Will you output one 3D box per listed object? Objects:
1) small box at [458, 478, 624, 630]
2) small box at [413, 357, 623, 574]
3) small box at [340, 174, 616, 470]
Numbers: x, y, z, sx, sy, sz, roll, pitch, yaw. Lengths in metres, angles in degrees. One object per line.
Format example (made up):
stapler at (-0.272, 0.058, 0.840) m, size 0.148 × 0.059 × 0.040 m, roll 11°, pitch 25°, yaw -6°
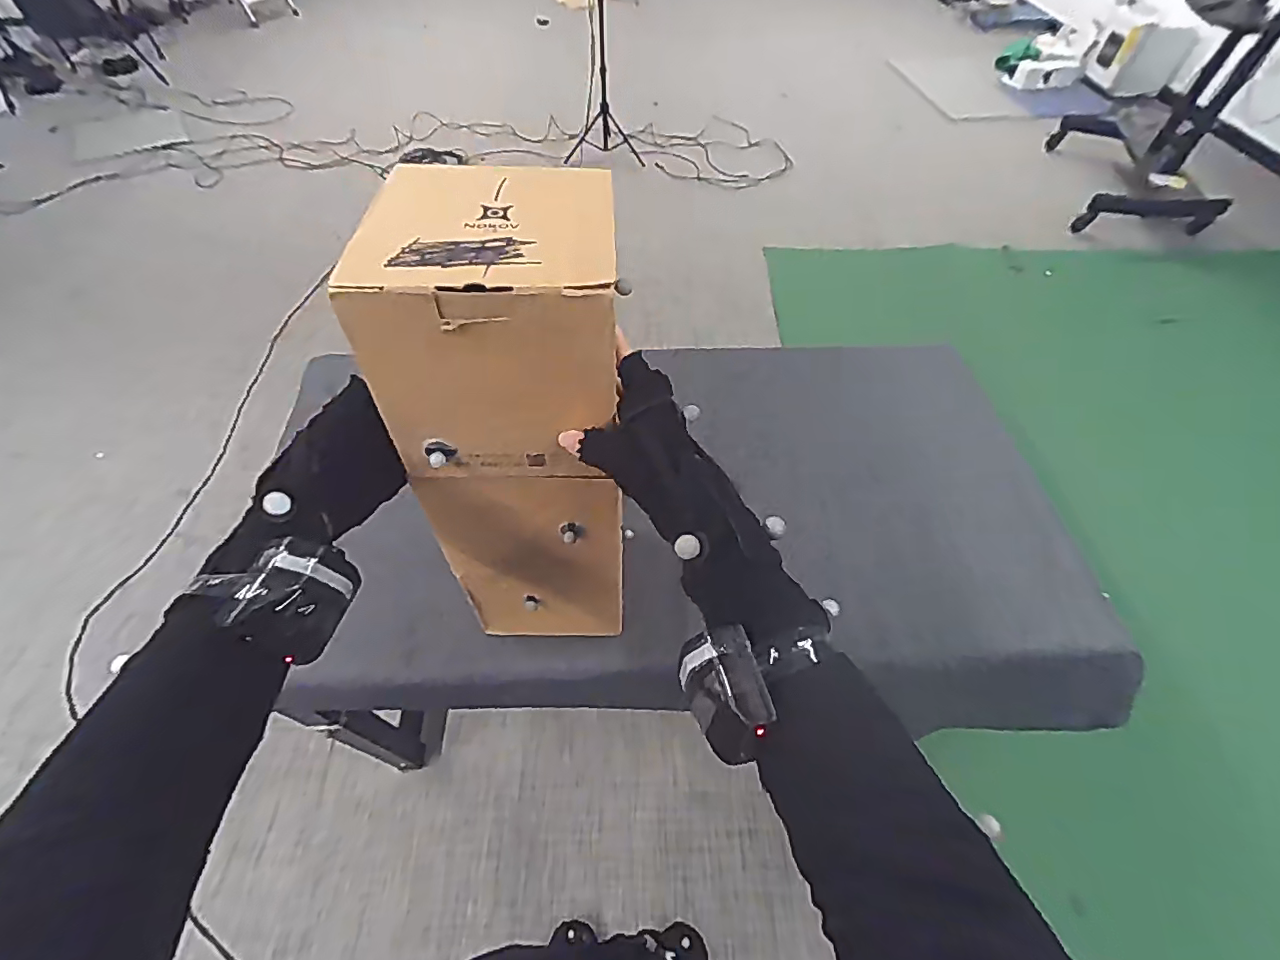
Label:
small box at (-0.111, 0.084, 0.695) m, size 0.179 × 0.176 × 0.168 m, roll 1°, pitch 52°, yaw -1°
small box at (-0.106, -0.013, 0.565) m, size 0.179 × 0.176 × 0.168 m, roll 0°, pitch 50°, yaw -1°
small box at (-0.103, -0.122, 0.437) m, size 0.168 × 0.176 × 0.179 m, roll 1°, pitch 50°, yaw -3°
